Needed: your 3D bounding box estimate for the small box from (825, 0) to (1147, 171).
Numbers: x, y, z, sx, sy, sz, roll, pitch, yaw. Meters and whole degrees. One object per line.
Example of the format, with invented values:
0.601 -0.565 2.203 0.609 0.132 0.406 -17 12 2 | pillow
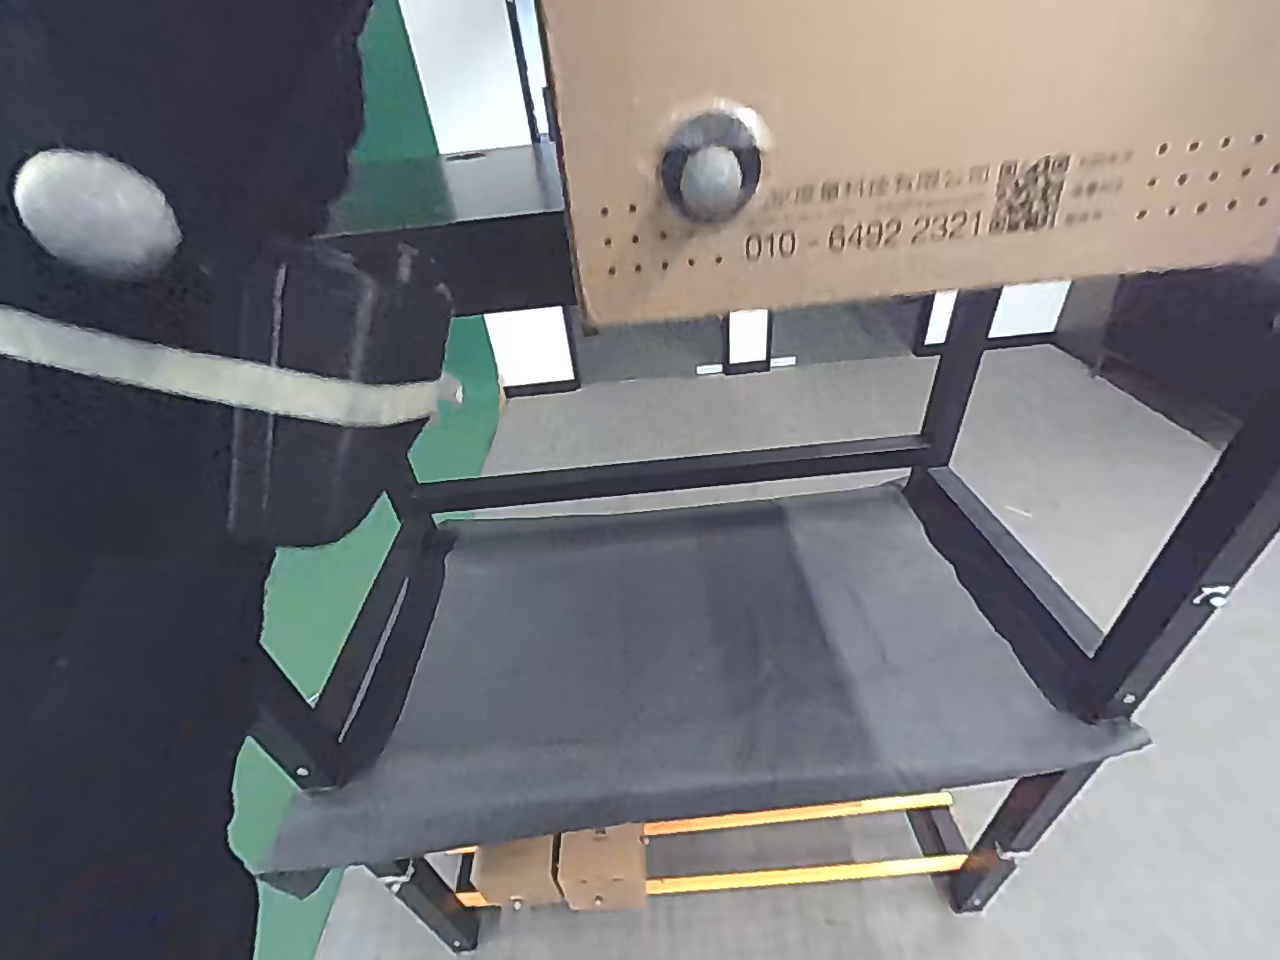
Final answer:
0.264 -0.361 0.442 0.168 0.176 0.179 -7 36 0 | small box
